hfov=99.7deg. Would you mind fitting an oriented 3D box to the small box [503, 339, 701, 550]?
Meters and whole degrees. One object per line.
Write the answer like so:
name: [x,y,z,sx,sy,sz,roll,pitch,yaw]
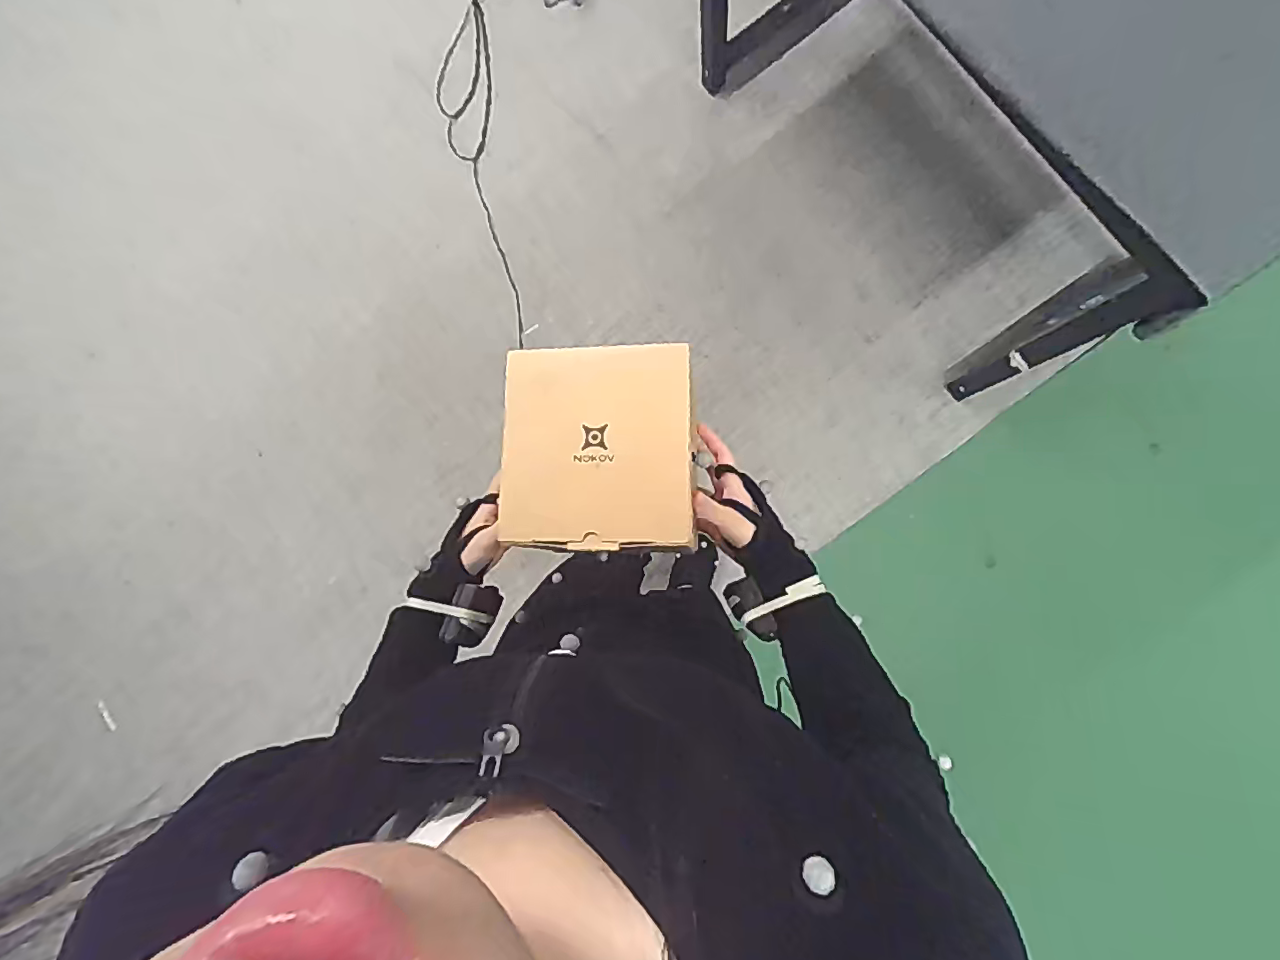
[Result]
small box: [-0.026,-0.022,0.533,0.168,0.176,0.179,-1,81,5]
